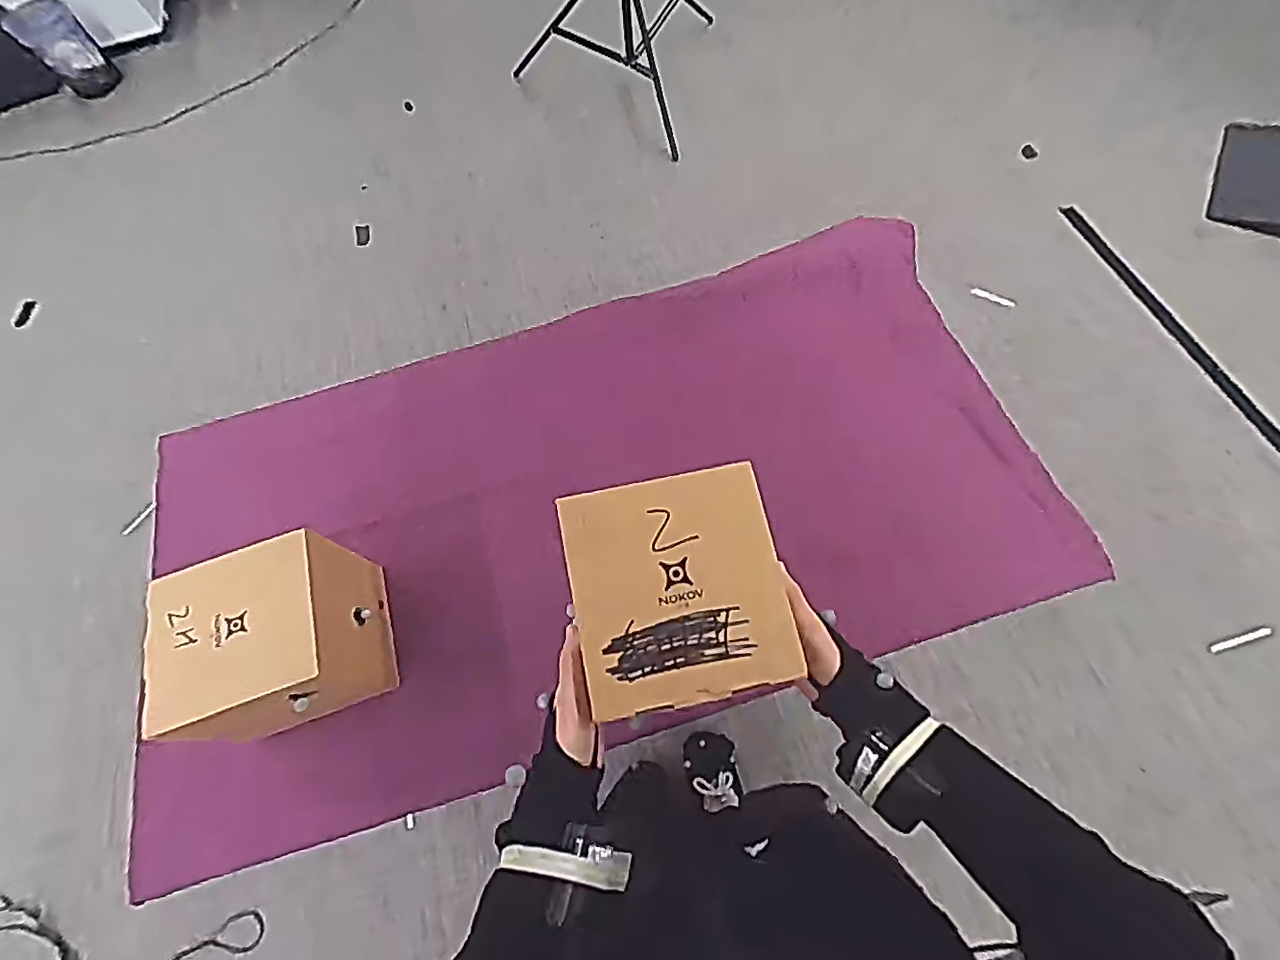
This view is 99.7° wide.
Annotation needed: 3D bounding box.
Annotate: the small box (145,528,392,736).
[{"bbox_3d":[-0.410,0.179,0.626,0.179,0.176,0.168,-20,65,-4],"label":"small box"}]
